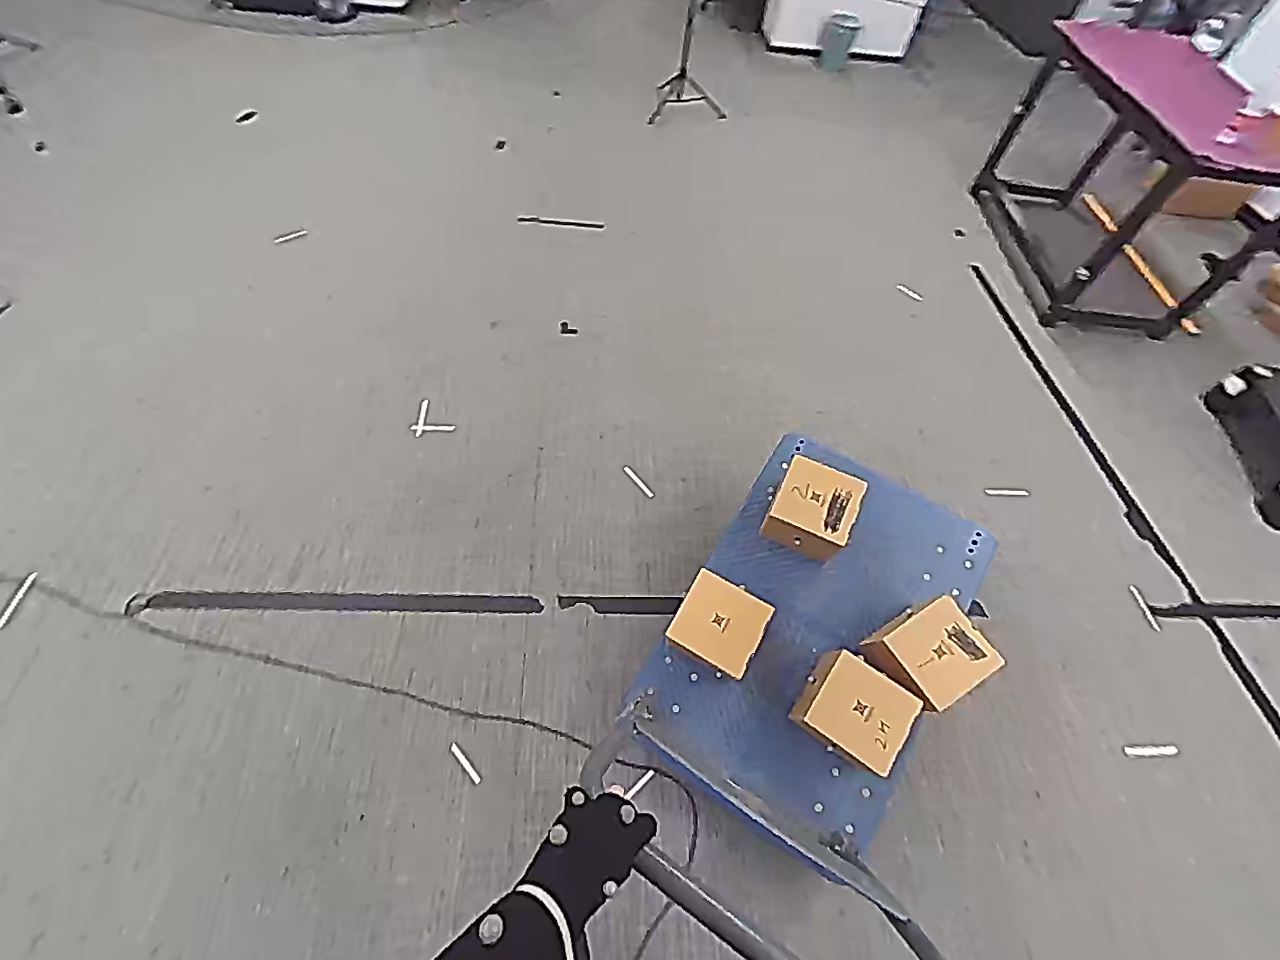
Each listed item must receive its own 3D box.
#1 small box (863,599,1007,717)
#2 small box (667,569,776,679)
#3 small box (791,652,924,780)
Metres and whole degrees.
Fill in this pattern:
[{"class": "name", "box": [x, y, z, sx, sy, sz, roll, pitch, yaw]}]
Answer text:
[{"class": "small box", "box": [0.610, 0.376, 1.145, 0.179, 0.176, 0.168, -30, 69, -8]}, {"class": "small box", "box": [0.171, 0.325, 1.194, 0.179, 0.176, 0.168, 29, 73, 12]}, {"class": "small box", "box": [0.436, 0.481, 1.114, 0.179, 0.176, 0.168, 34, 75, 16]}]
